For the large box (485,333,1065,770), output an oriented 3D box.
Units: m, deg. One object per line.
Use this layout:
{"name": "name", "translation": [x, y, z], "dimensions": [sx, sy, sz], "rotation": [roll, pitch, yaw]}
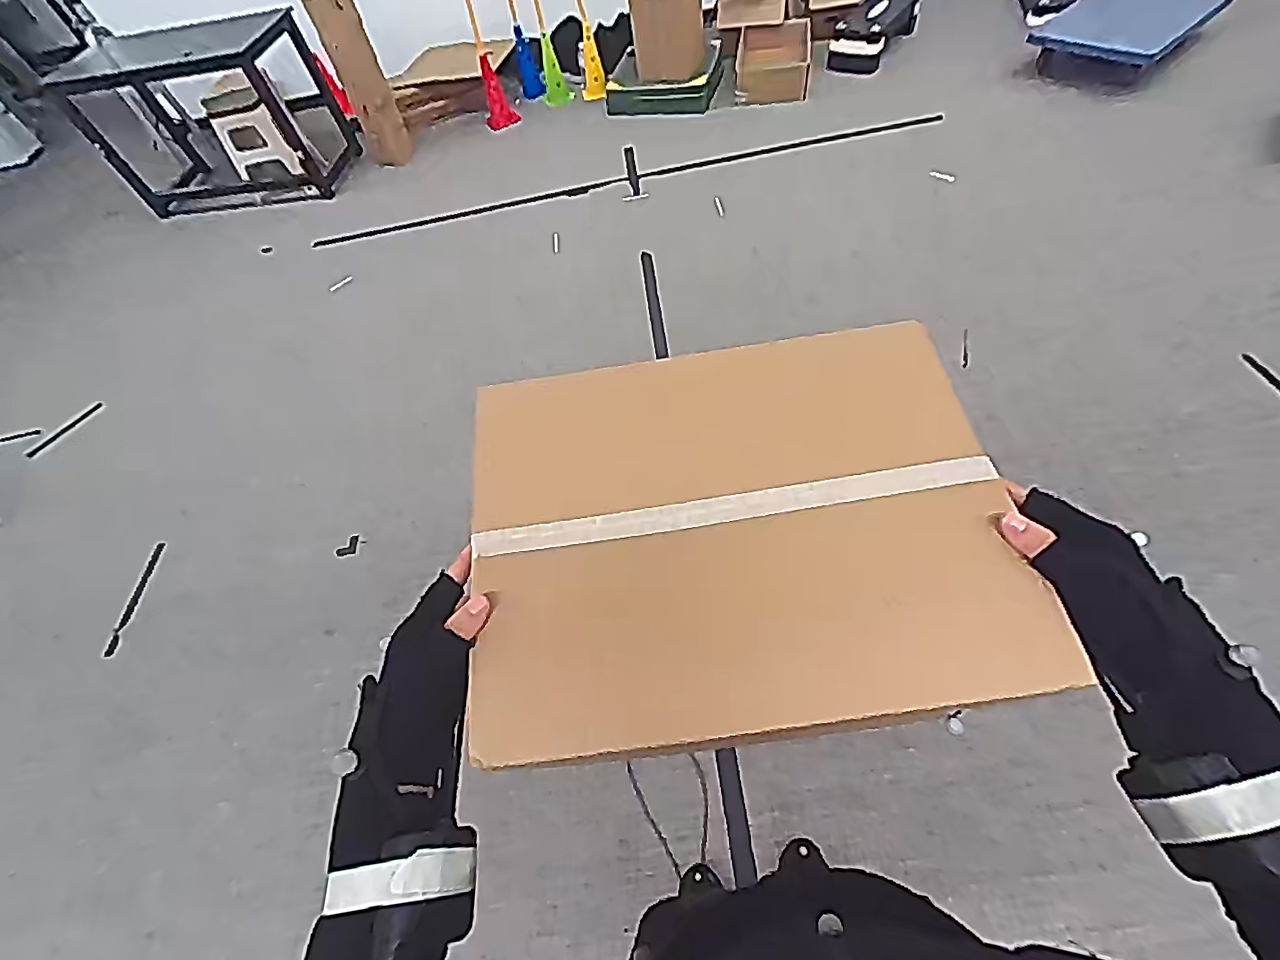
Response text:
{"name": "large box", "translation": [0.087, 0.096, 0.563], "dimensions": [0.408, 0.320, 0.320], "rotation": [-9, 62, 2]}
